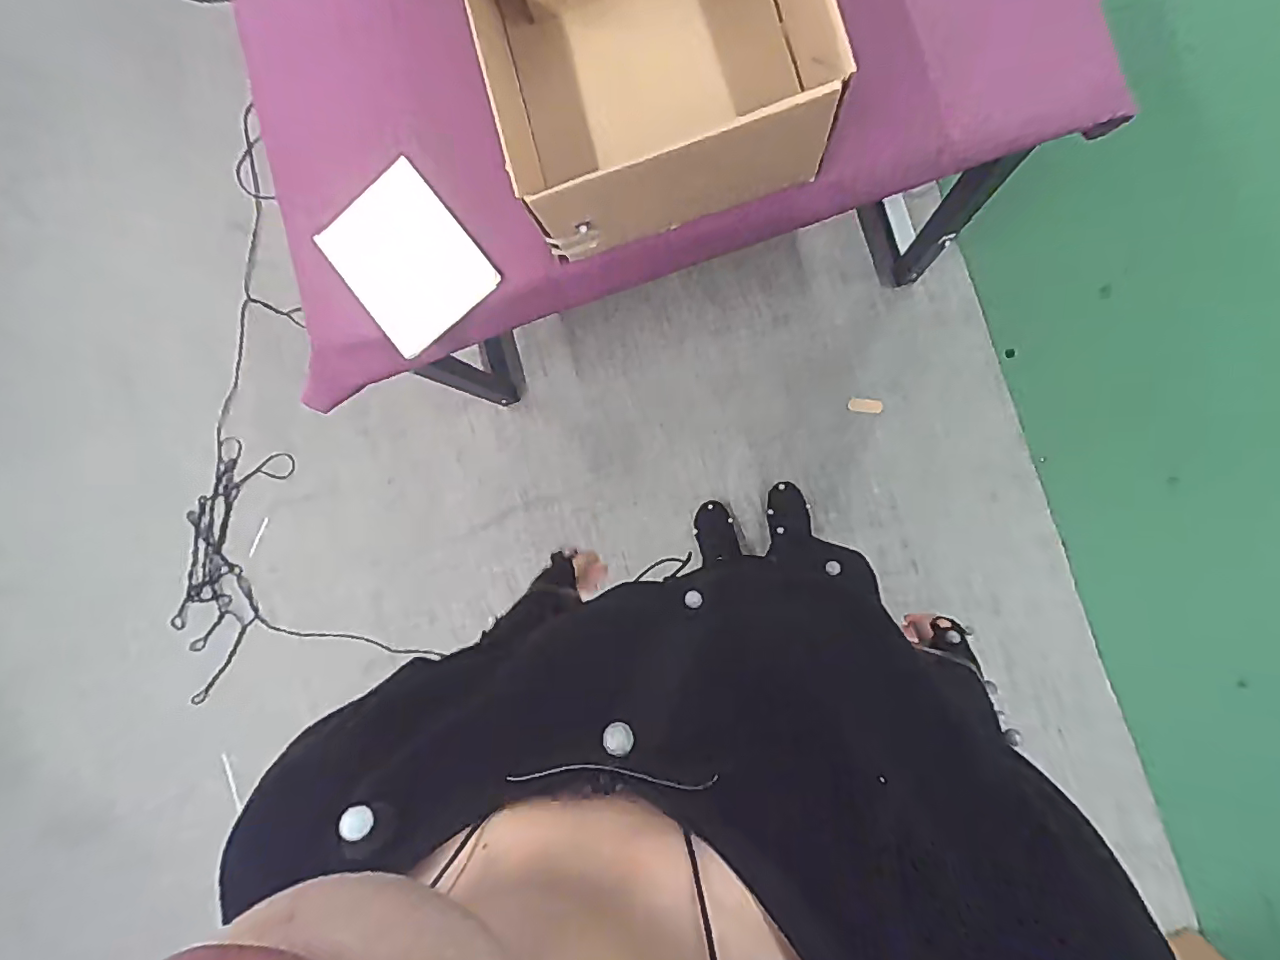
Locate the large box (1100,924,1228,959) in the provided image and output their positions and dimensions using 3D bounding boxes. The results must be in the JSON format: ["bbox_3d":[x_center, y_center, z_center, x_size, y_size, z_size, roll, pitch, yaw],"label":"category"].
[{"bbox_3d":[1.198,1.285,1.158,0.408,0.320,0.320,-31,85,6],"label":"large box"}]
